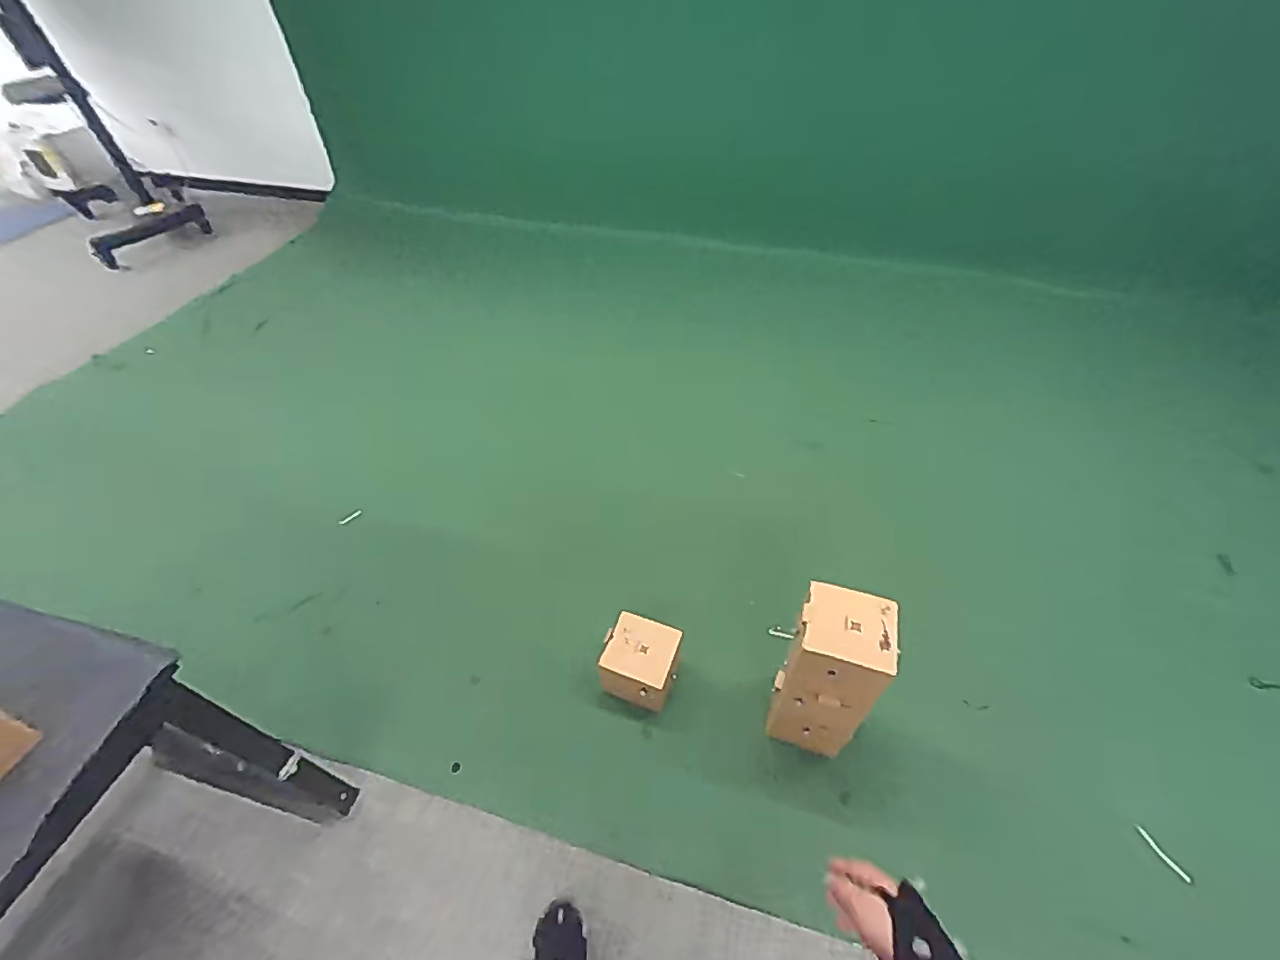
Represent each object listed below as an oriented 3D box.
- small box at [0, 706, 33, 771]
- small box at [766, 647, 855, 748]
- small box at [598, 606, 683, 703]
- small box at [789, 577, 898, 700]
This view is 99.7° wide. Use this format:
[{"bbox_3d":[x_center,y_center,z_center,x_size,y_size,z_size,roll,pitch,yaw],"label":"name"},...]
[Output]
[{"bbox_3d":[-0.887,0.308,0.613,0.179,0.176,0.168,15,51,16],"label":"small box"},{"bbox_3d":[0.431,0.554,1.367,0.179,0.176,0.168,15,50,13],"label":"small box"},{"bbox_3d":[0.003,0.472,1.442,0.179,0.176,0.168,16,50,15],"label":"small box"},{"bbox_3d":[0.418,0.332,1.126,0.179,0.176,0.168,13,49,13],"label":"small box"}]
